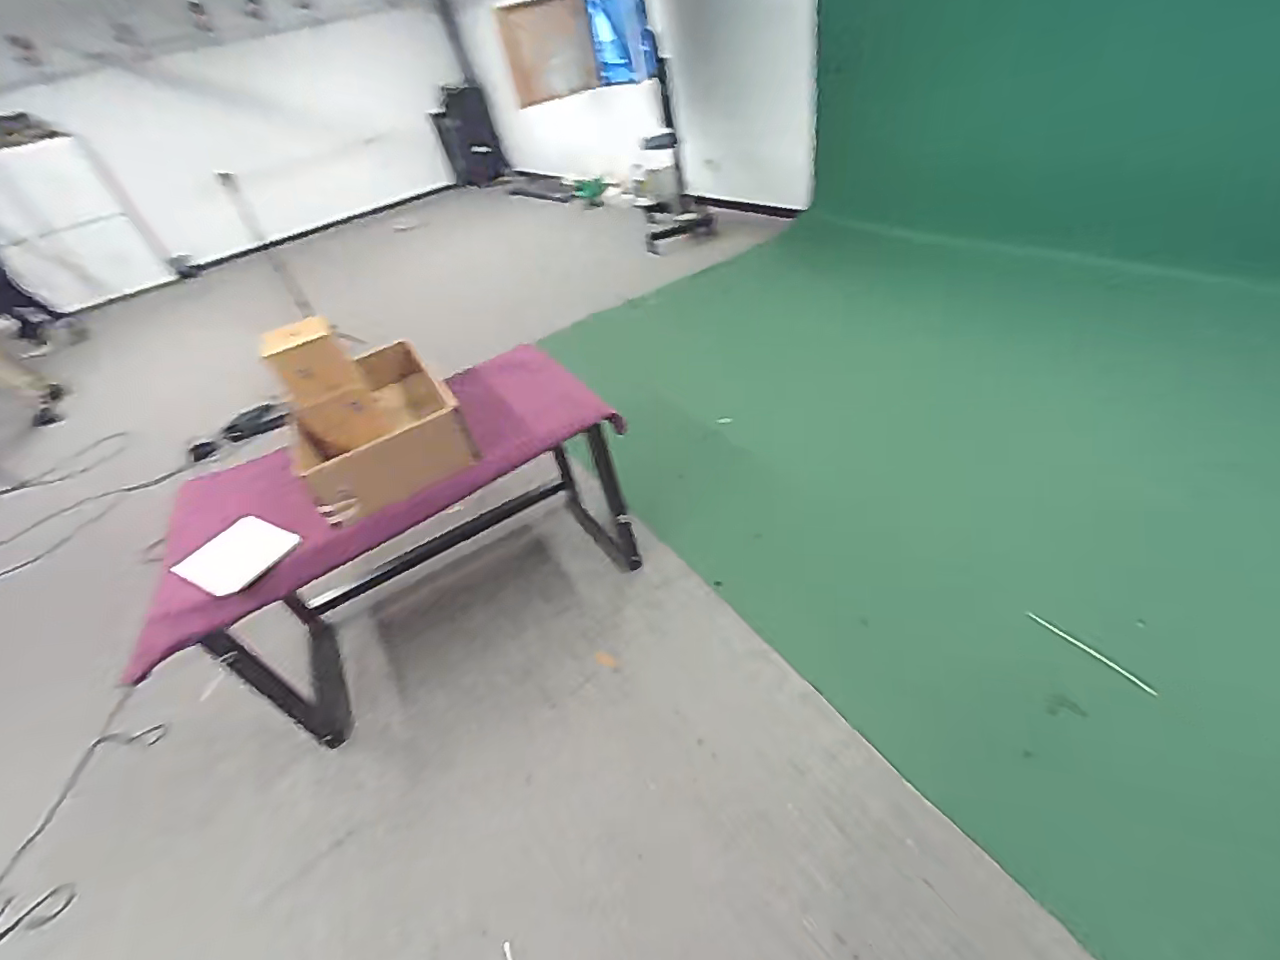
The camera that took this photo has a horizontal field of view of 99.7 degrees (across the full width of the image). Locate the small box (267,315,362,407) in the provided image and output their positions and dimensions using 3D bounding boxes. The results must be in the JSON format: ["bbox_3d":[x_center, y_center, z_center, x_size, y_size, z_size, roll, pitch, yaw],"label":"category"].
[{"bbox_3d":[-0.890,-0.323,1.490,0.168,0.176,0.179,-27,42,-15],"label":"small box"}]
